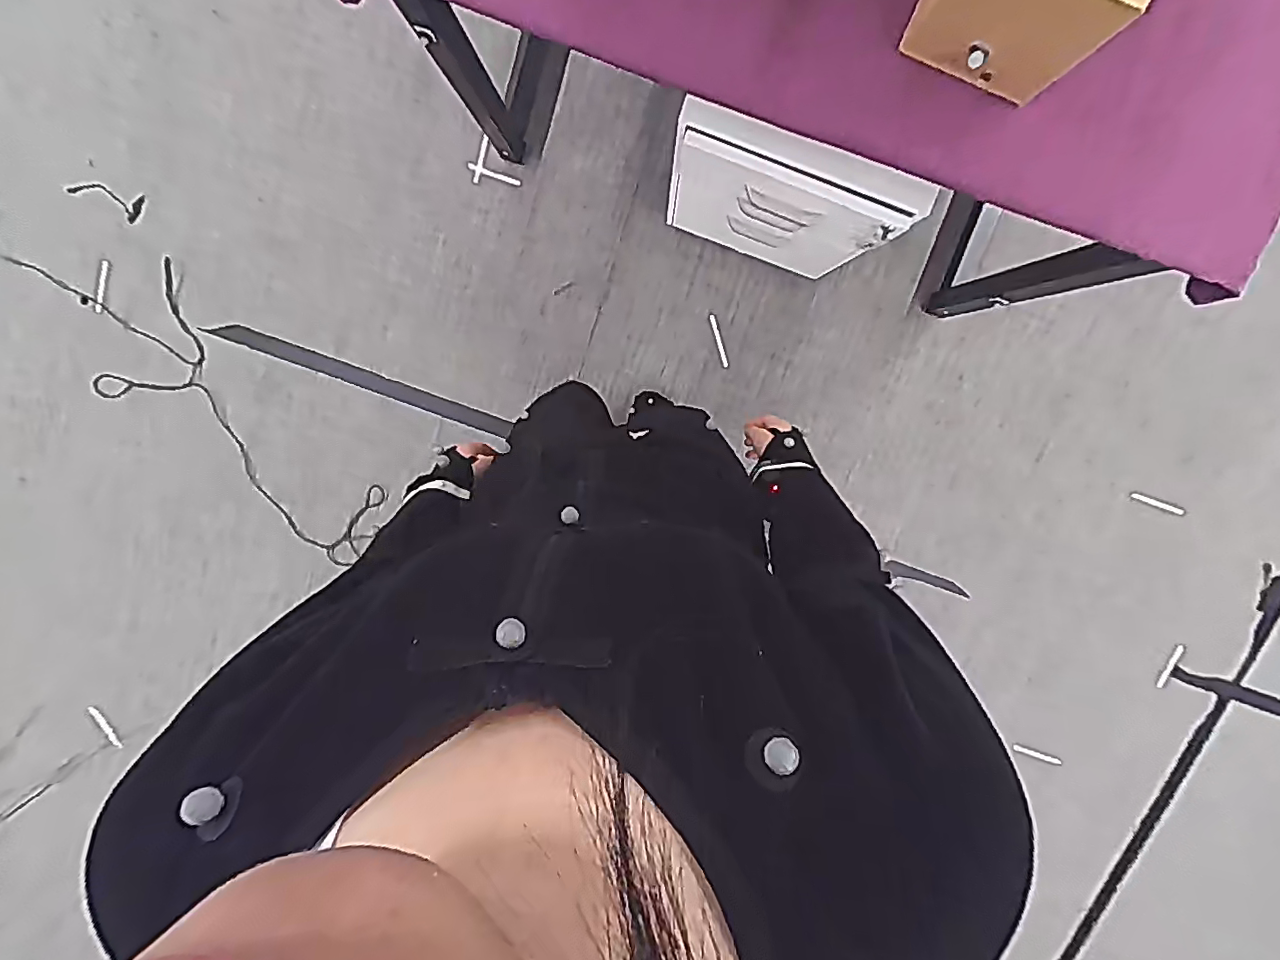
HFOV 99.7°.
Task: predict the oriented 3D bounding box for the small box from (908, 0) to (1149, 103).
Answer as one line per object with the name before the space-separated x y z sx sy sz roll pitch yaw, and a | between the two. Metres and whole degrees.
small box | 0.410 -0.540 0.548 0.168 0.176 0.179 22 100 -2
